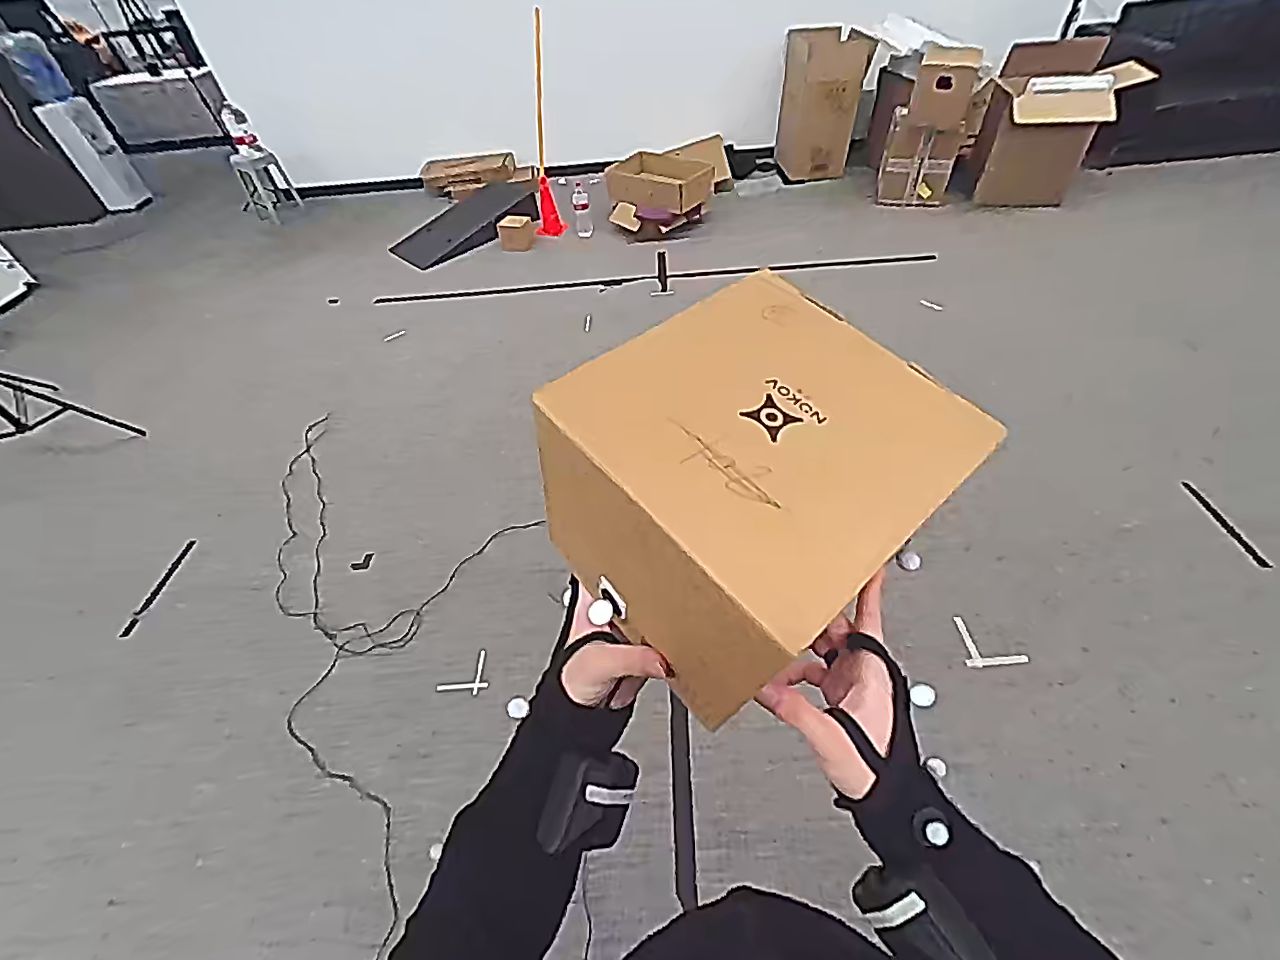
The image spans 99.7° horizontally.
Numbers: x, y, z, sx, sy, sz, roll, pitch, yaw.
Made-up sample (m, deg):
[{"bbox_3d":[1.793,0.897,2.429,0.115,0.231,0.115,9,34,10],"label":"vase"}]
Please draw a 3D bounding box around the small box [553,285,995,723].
[{"bbox_3d":[0.064,0.018,0.341,0.179,0.176,0.168,-37,66,-25],"label":"small box"}]
